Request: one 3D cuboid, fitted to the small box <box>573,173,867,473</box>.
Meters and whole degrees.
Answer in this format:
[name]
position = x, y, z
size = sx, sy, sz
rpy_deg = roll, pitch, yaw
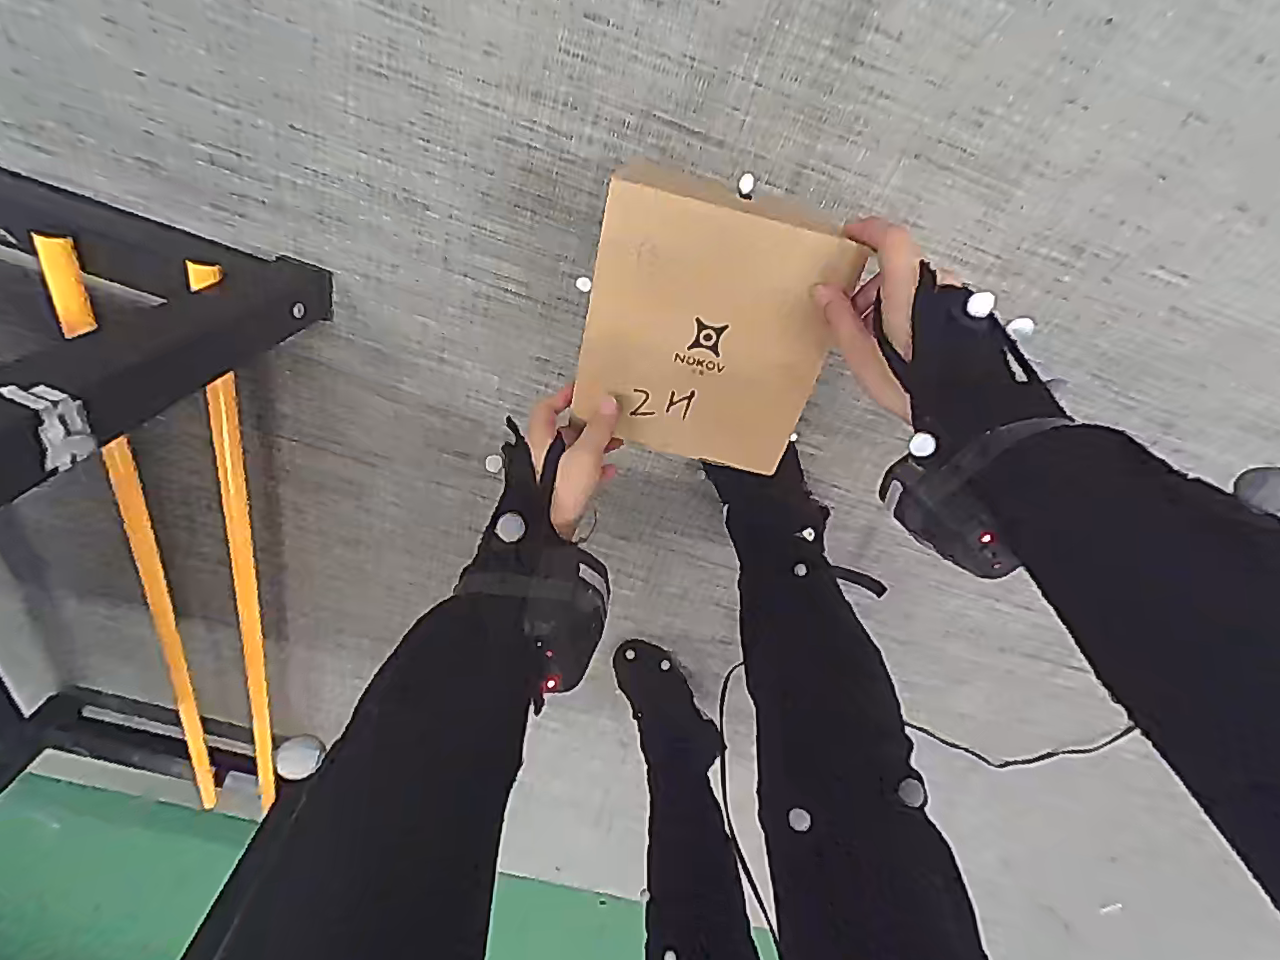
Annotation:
[small box]
position = 0.051, -0.136, 0.444
size = 0.168, 0.176, 0.179
rpy_deg = 14, 123, -3
